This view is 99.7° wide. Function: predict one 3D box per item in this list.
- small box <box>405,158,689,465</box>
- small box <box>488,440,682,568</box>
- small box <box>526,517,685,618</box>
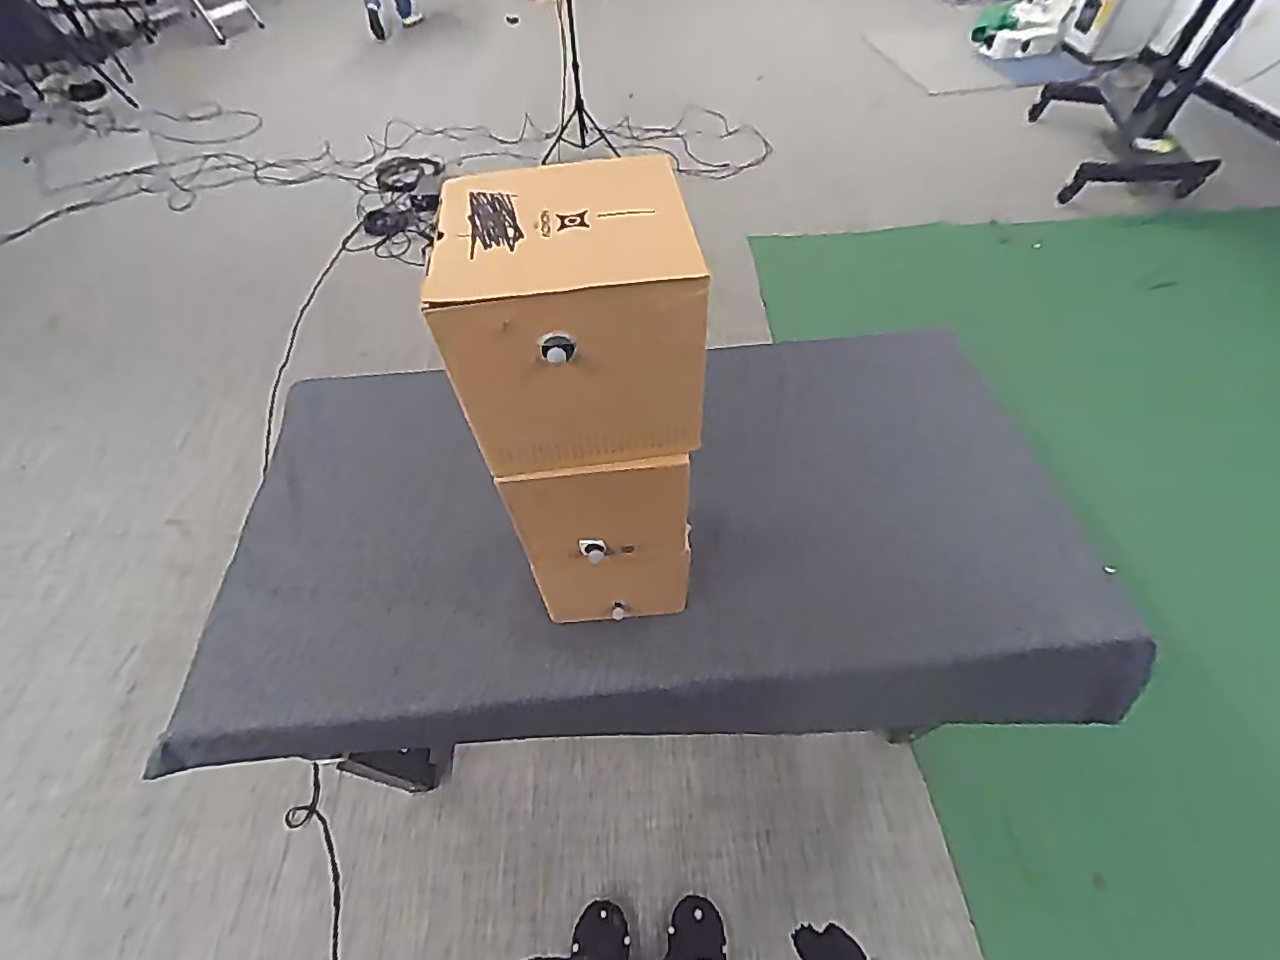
[{"bbox_3d":[-0.058,-0.126,0.433,0.179,0.176,0.168,-7,54,-2],"label":"small box"},{"bbox_3d":[-0.048,-0.028,0.565,0.168,0.176,0.179,-6,55,0],"label":"small box"},{"bbox_3d":[-0.041,0.066,0.697,0.179,0.176,0.168,-4,54,-1],"label":"small box"}]
